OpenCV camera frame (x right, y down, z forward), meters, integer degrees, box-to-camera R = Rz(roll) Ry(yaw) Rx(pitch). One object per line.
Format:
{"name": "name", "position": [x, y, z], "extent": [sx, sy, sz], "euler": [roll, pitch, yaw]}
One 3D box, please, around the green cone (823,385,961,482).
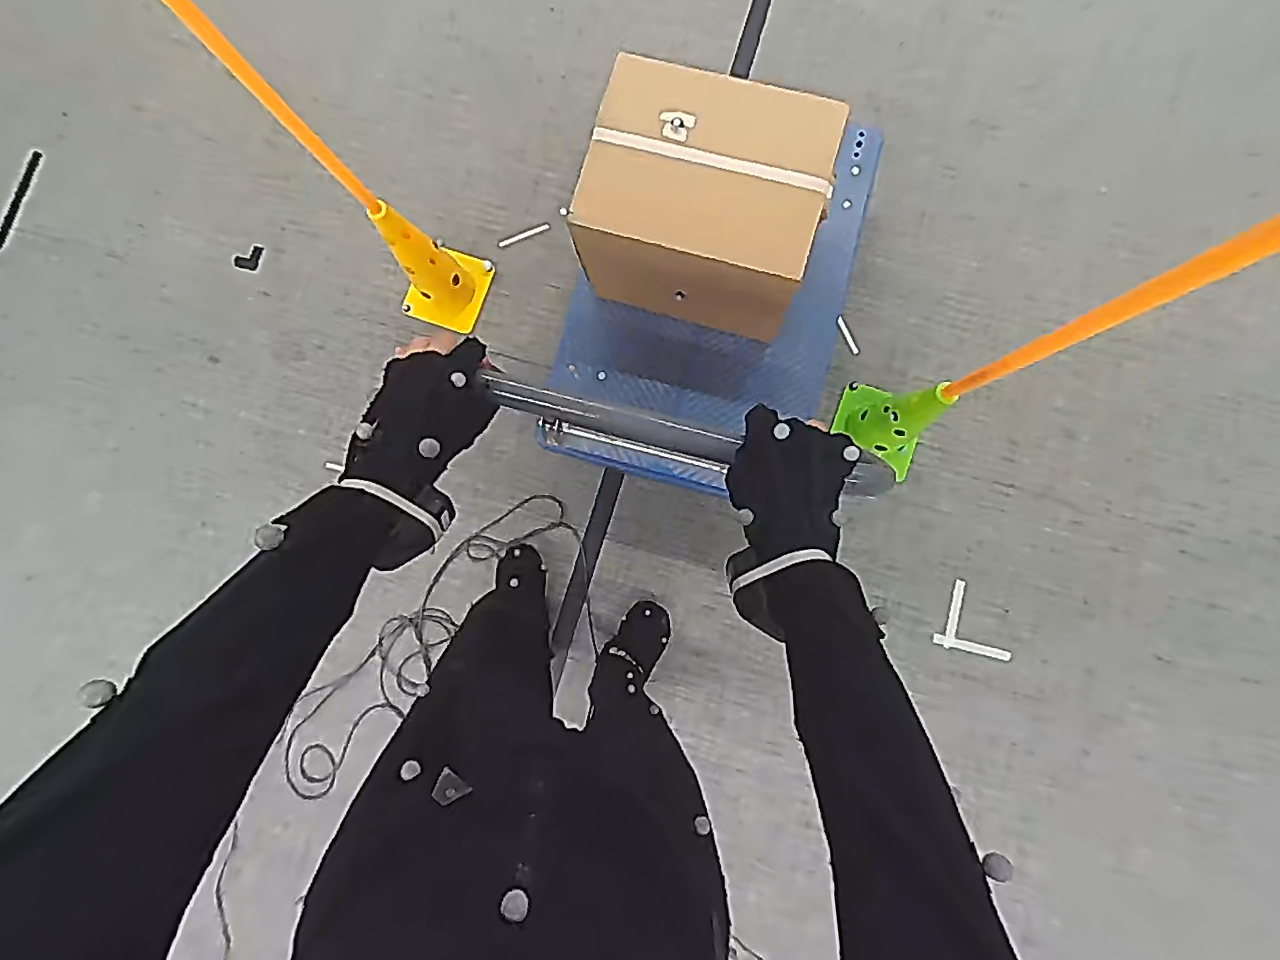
{"name": "green cone", "position": [0.554, -0.129, 1.138], "extent": [0.202, 0.368, 0.200], "euler": [20, 86, 4]}

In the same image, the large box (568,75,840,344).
{"name": "large box", "position": [0.121, -0.499, 1.062], "extent": [0.408, 0.320, 0.320], "euler": [17, 87, 6]}
